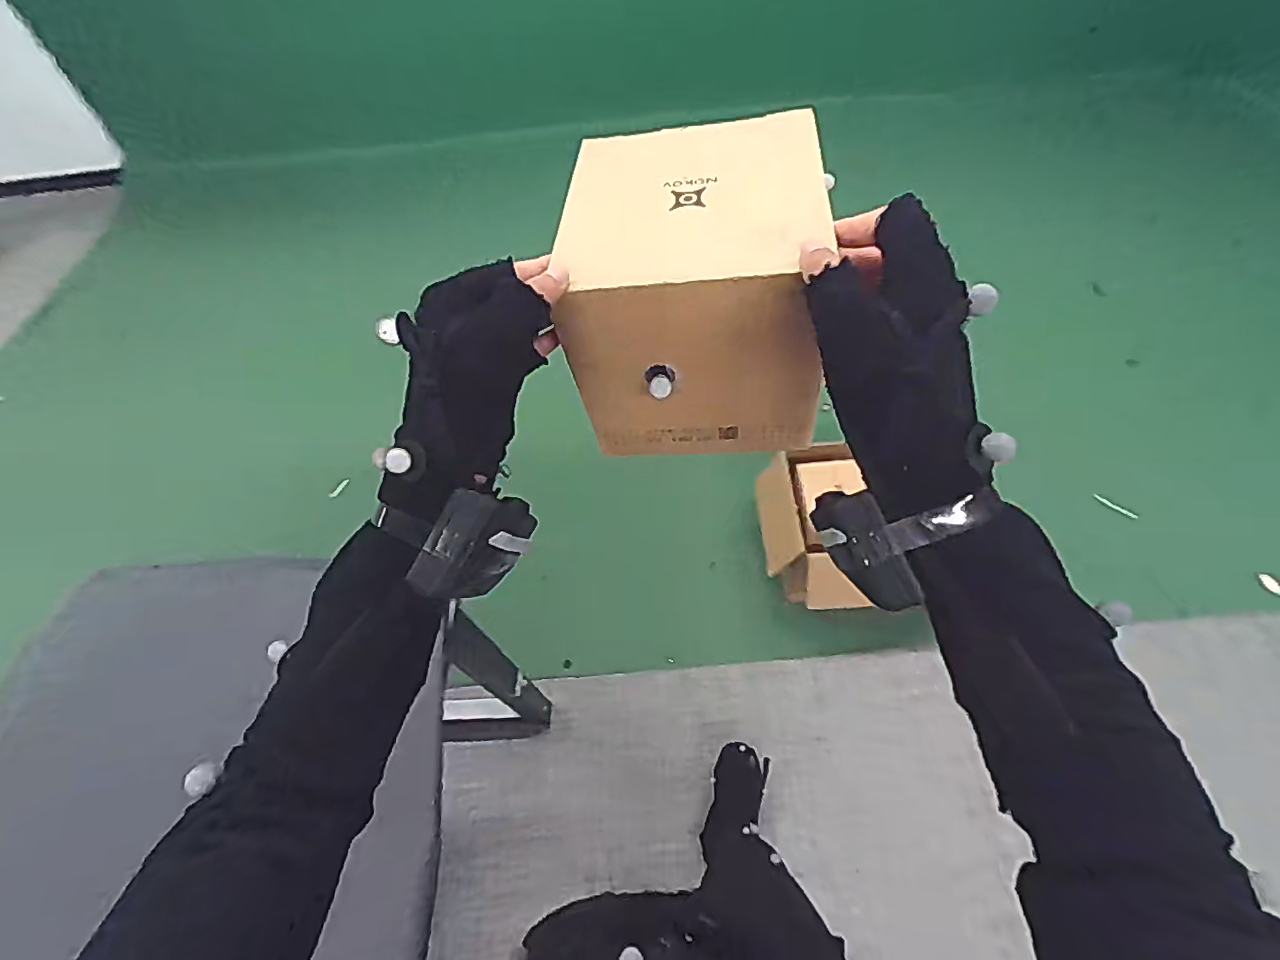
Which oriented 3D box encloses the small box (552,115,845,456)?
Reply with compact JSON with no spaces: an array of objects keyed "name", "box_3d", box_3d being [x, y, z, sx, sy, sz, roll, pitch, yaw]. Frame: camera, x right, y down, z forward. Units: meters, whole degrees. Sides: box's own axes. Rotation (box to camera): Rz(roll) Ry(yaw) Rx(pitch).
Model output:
[{"name":"small box","box_3d":[0.050,-0.129,0.403,0.168,0.176,0.179,-1,56,11]}]
